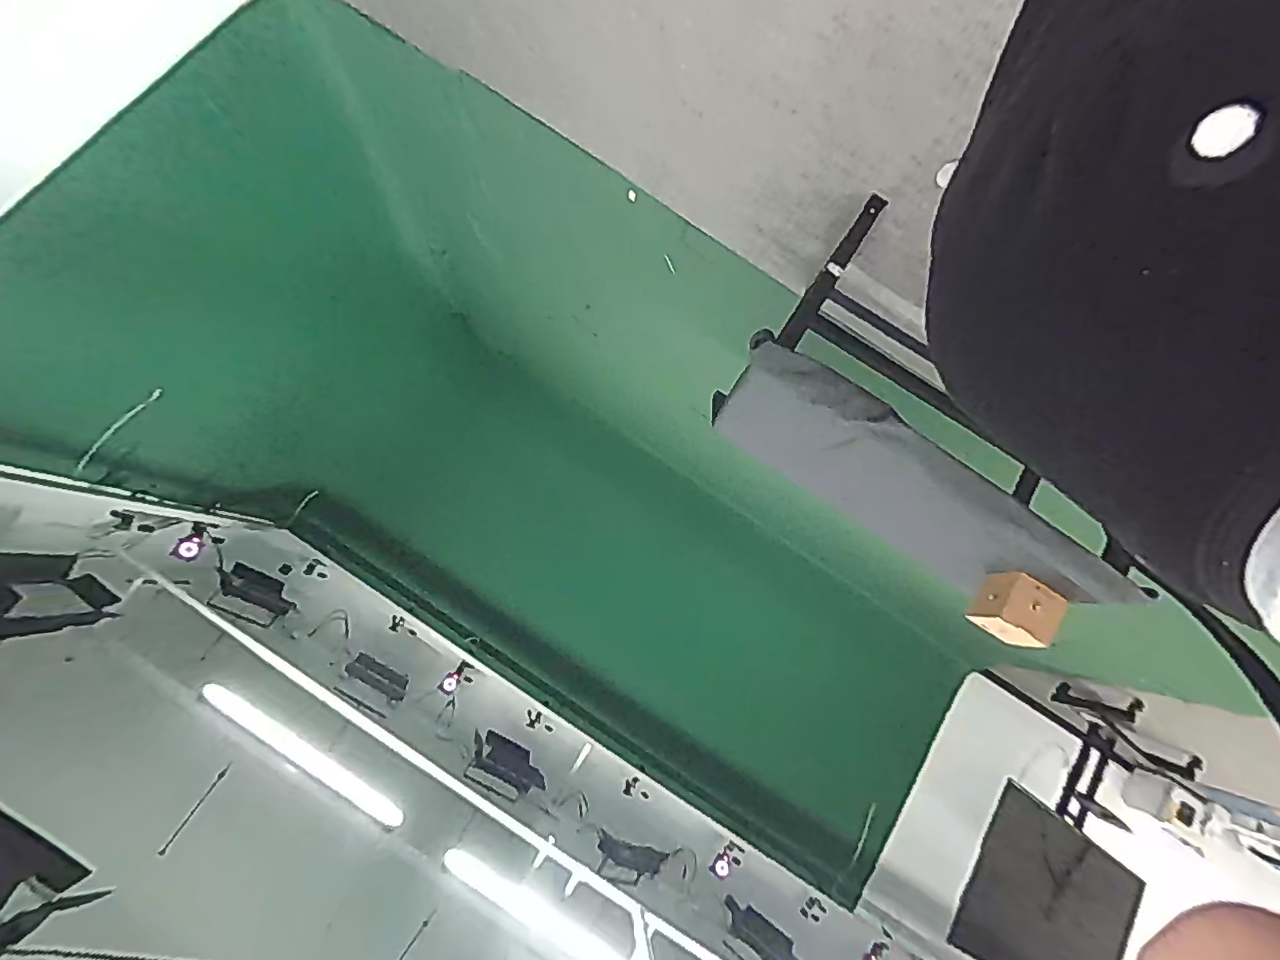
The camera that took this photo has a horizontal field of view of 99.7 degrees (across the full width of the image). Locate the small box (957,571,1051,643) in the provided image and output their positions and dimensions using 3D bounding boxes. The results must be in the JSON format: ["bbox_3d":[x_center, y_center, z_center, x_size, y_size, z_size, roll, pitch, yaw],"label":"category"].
[{"bbox_3d":[1.179,0.405,1.743,0.168,0.176,0.179,33,166,4],"label":"small box"}]
